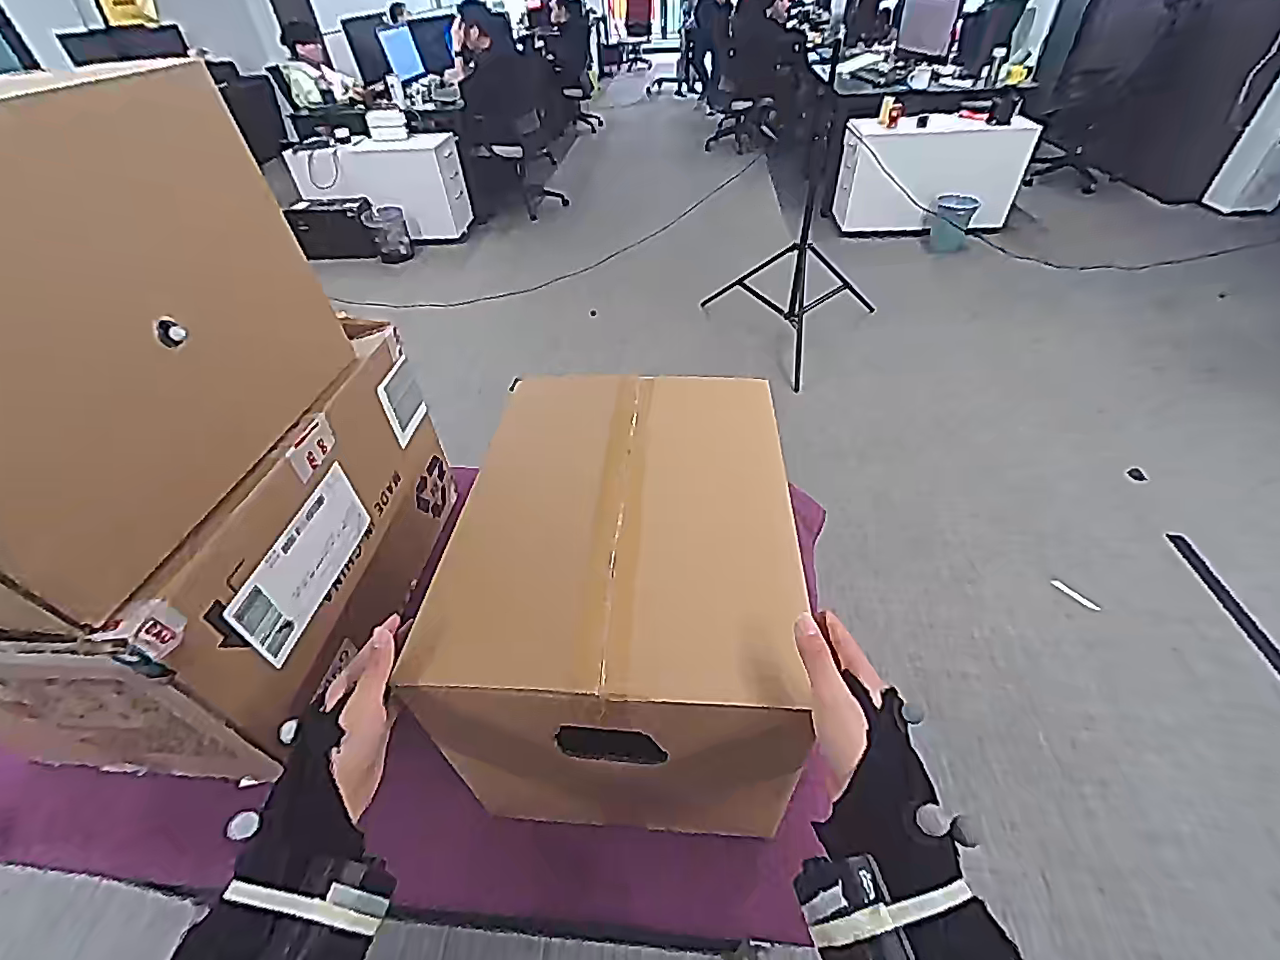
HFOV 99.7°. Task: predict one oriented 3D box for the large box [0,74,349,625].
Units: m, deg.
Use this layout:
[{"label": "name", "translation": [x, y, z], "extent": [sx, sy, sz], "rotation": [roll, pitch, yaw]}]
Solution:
[{"label": "large box", "translation": [-0.553, -0.129, 0.484], "extent": [0.320, 0.320, 0.408], "rotation": [-1, 44, 9]}]
